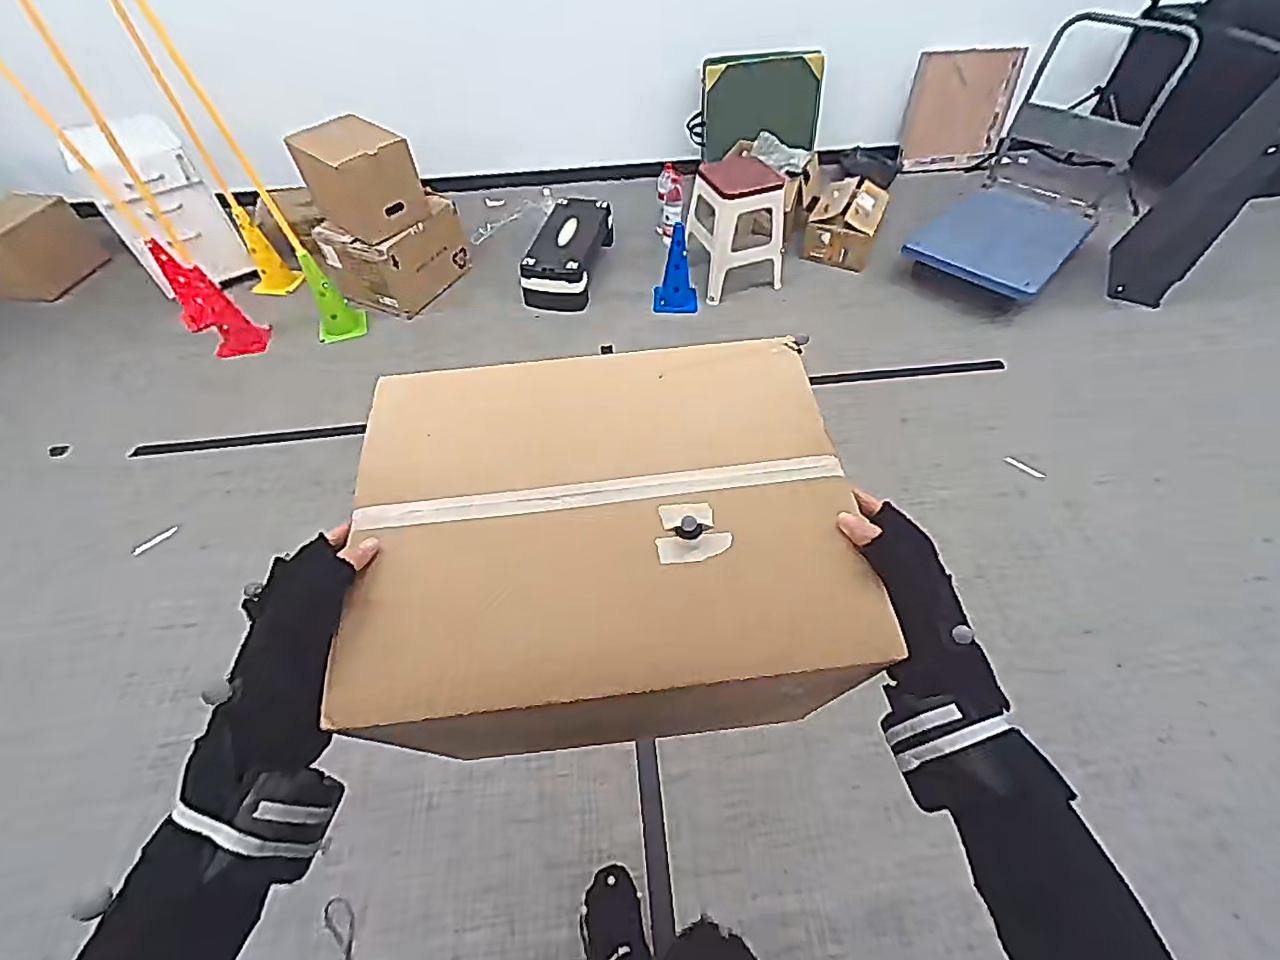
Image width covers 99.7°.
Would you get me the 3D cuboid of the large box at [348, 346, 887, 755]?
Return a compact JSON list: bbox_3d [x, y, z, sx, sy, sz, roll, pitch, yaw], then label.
[{"bbox_3d":[-0.028,0.092,0.592,0.408,0.320,0.320,-6,59,-3],"label":"large box"}]
